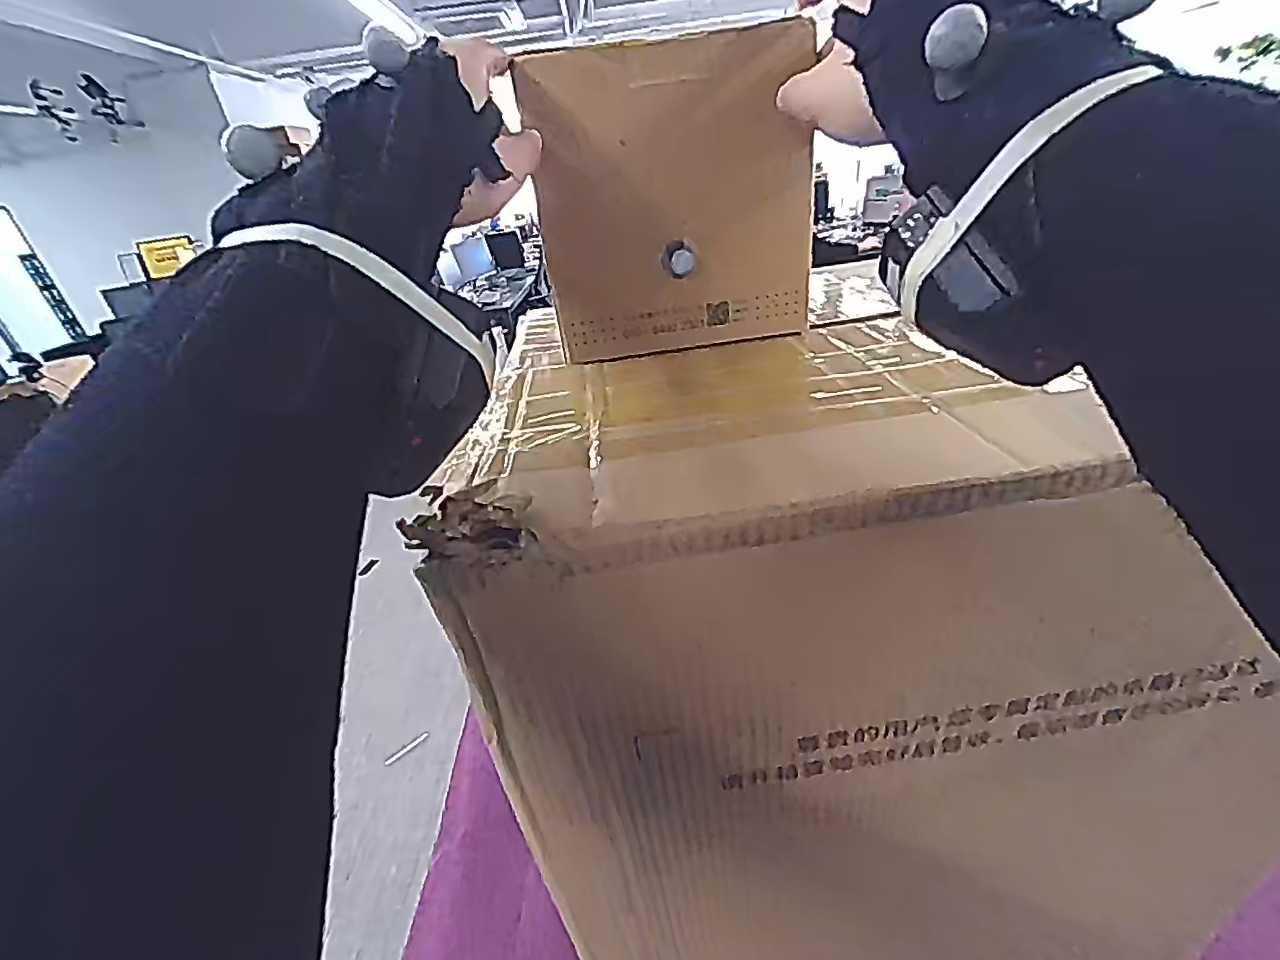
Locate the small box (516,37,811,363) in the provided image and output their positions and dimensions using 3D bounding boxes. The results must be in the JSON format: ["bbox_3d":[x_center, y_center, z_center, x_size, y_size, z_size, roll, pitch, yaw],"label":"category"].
[{"bbox_3d":[0.016,-0.197,0.404,0.168,0.176,0.179,-9,29,-1],"label":"small box"}]
